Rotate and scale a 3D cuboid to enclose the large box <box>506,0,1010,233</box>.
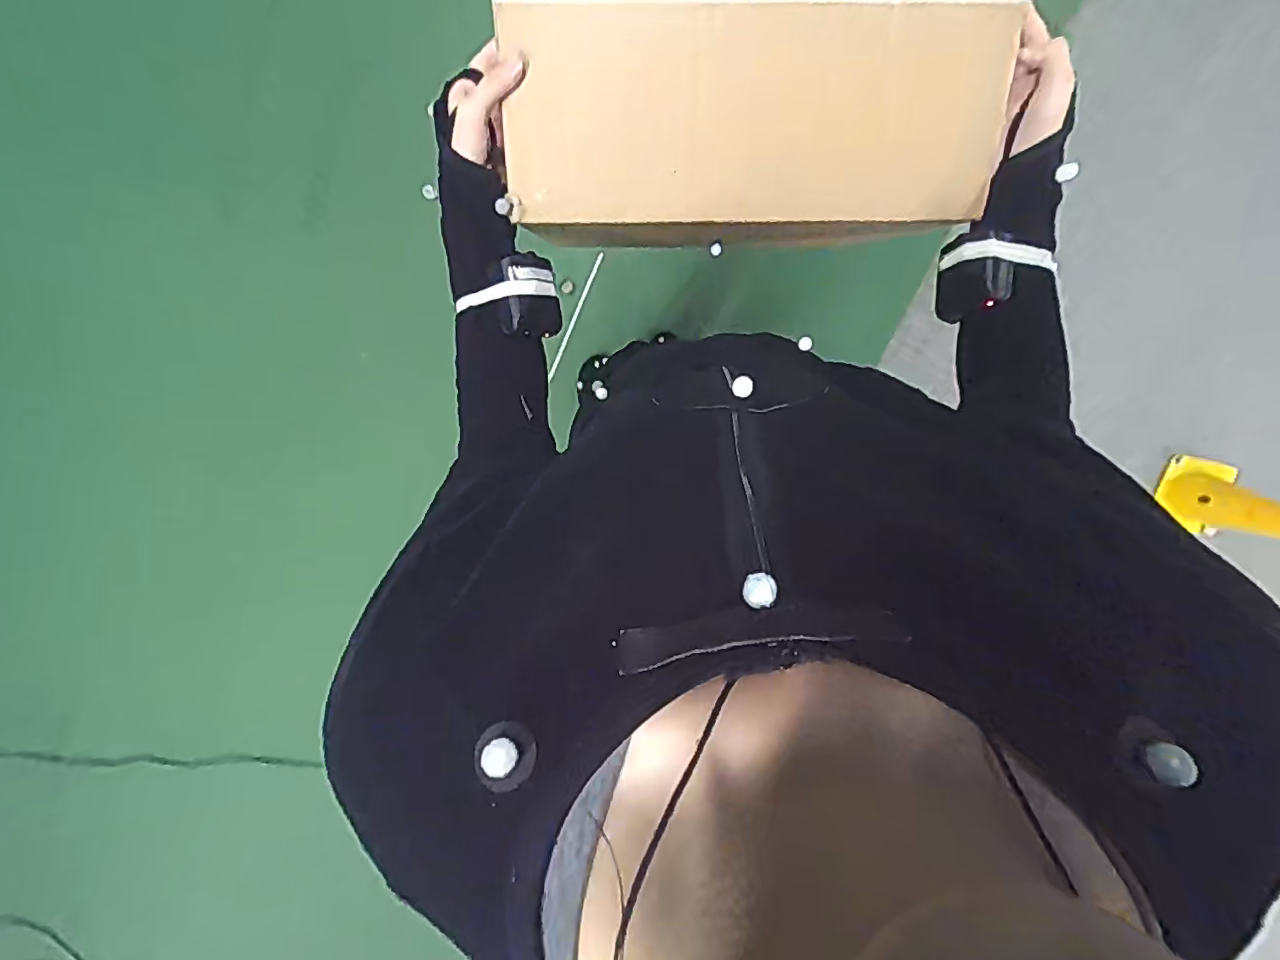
[{"bbox_3d":[0.092,-0.432,0.557,0.408,0.320,0.320,0,110,-1],"label":"large box"}]
